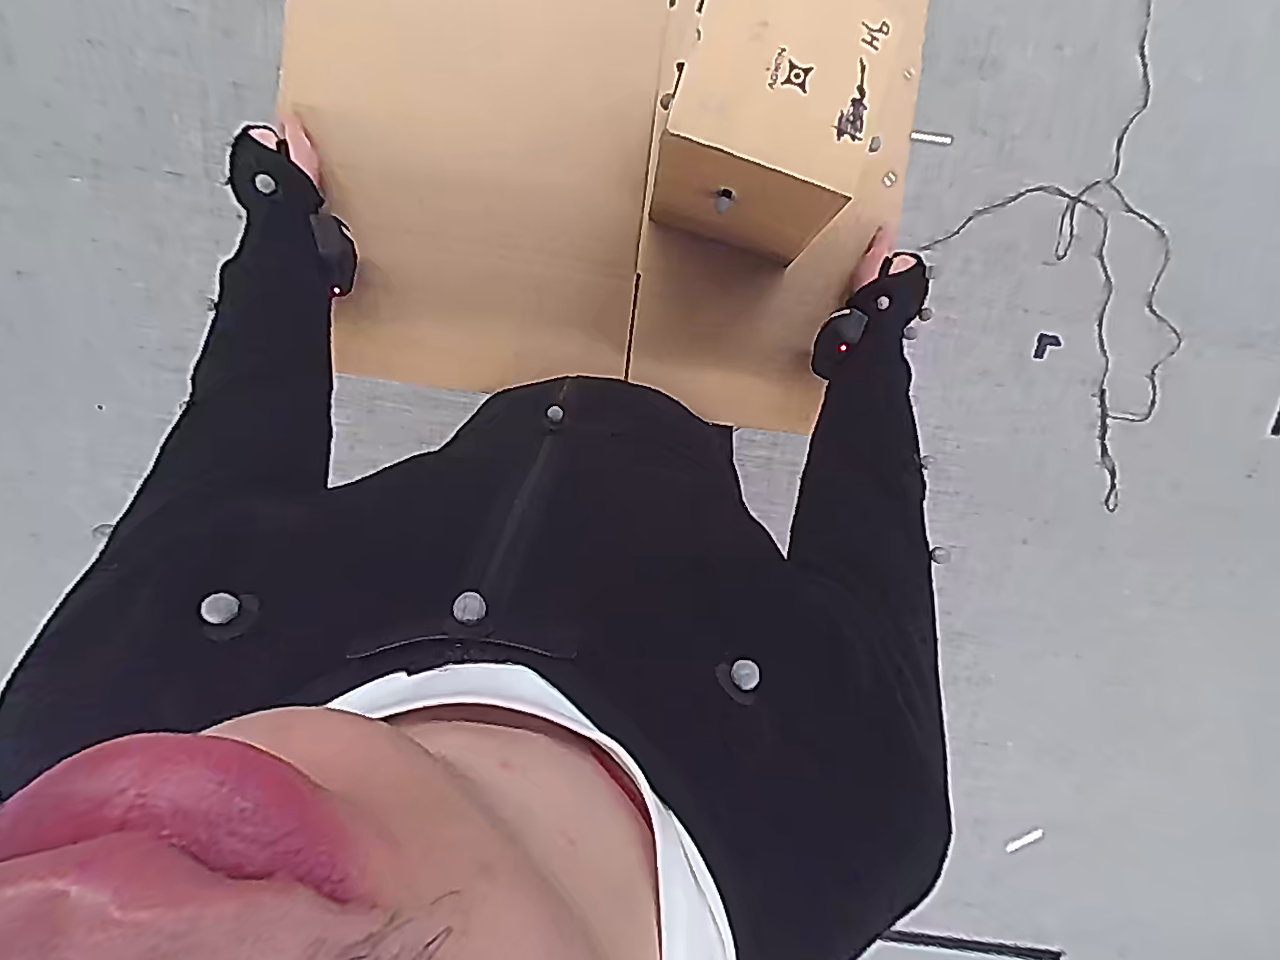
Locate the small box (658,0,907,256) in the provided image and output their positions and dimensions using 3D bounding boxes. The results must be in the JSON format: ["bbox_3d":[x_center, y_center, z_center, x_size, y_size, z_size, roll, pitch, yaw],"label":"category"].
[{"bbox_3d":[0.124,-0.353,0.548,0.179,0.176,0.168,17,92,-3],"label":"small box"}]
